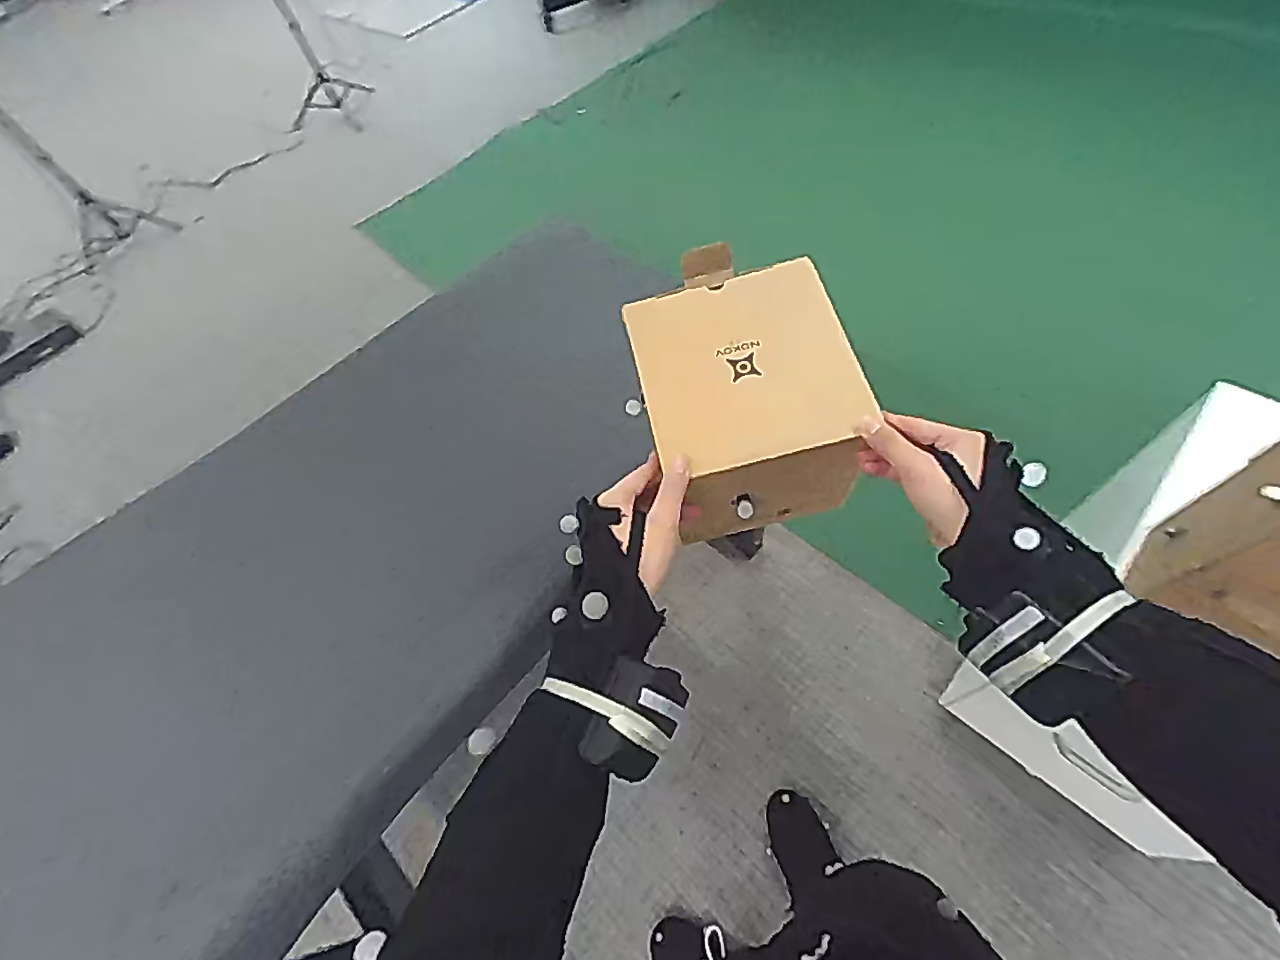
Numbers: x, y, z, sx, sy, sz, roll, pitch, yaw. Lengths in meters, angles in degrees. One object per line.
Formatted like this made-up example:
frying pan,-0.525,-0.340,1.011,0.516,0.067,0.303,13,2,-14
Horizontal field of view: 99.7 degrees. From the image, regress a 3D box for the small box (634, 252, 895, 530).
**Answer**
small box,0.101,-0.065,0.494,0.168,0.176,0.179,-14,66,3
